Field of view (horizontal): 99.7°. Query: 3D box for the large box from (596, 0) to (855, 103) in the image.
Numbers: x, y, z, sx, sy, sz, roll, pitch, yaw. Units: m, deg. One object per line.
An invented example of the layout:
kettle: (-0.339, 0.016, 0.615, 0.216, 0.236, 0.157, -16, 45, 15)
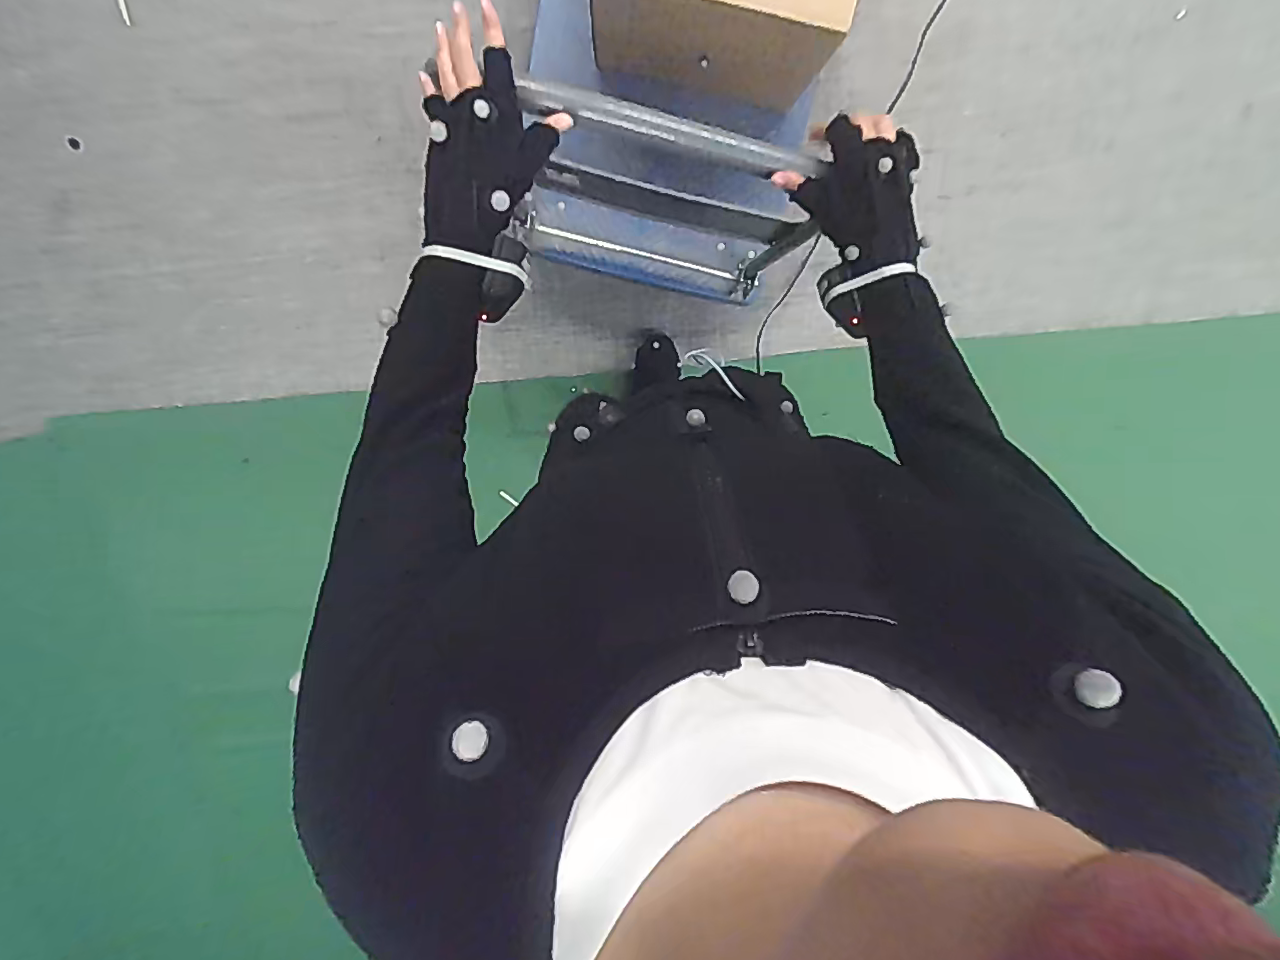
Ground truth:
large box: (0.147, -0.905, 0.921, 0.408, 0.320, 0.320, 9, 104, -4)
